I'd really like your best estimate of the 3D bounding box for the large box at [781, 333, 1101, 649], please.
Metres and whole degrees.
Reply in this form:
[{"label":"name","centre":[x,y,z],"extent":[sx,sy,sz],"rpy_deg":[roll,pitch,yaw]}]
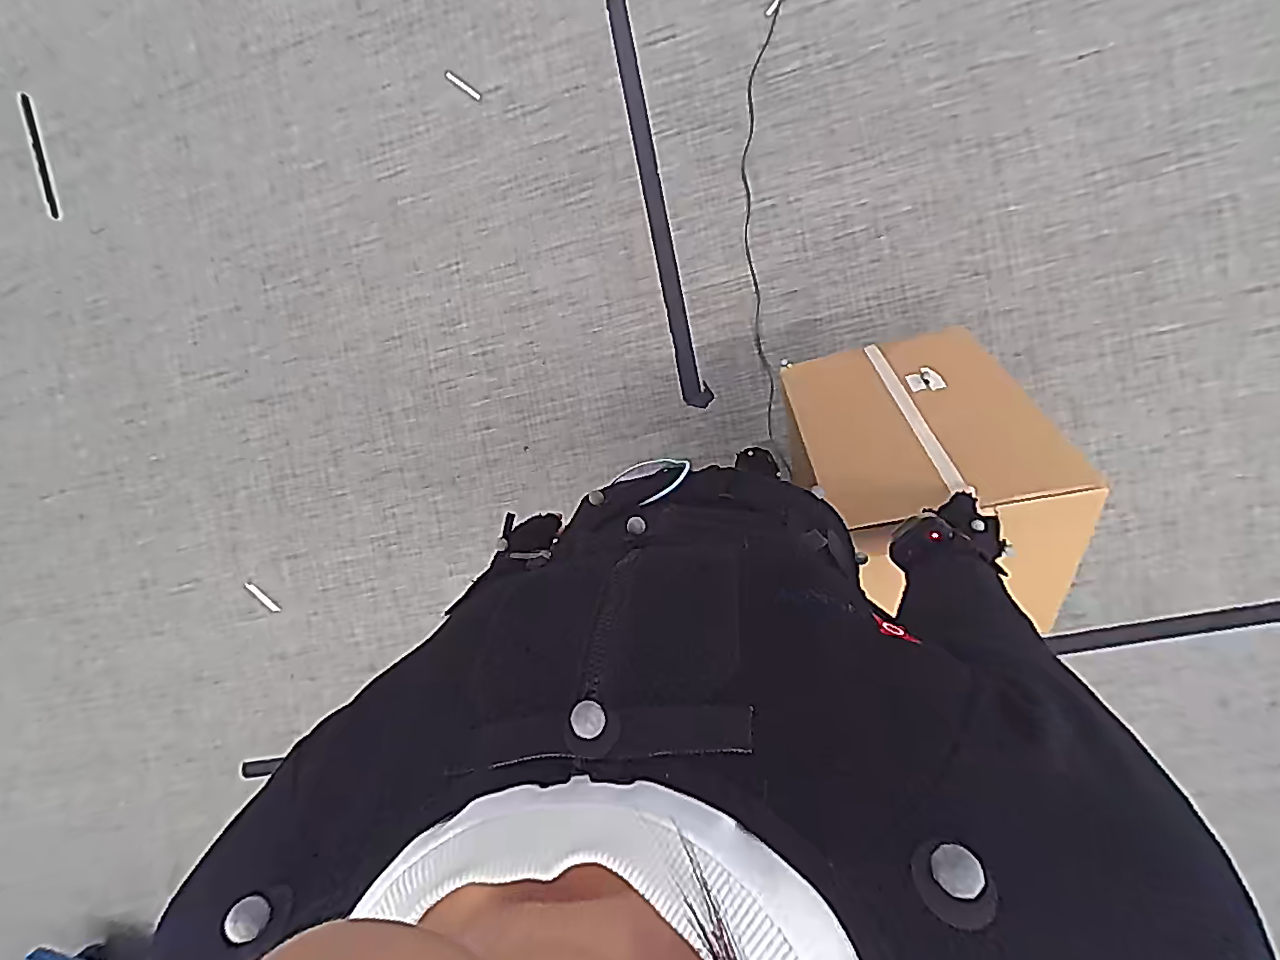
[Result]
[{"label":"large box","centre":[0.447,0.013,0.910],"extent":[0.320,0.408,0.320],"rpy_deg":[-11,130,10]}]
